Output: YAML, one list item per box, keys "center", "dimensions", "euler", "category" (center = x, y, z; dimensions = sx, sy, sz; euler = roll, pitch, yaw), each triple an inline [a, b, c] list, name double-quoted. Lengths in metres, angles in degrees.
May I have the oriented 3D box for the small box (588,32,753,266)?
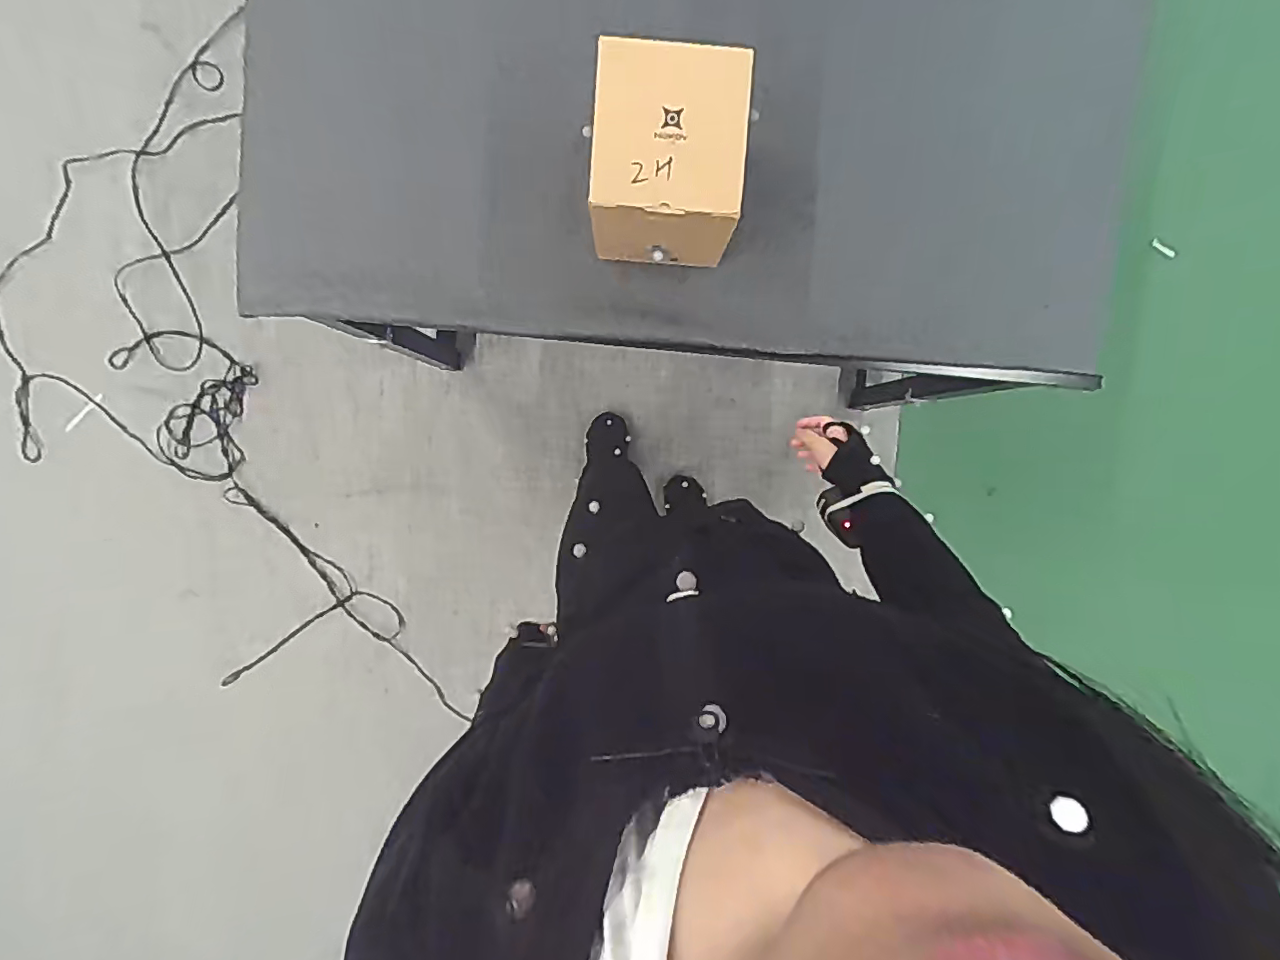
- center: [0.030, -0.378, 0.648]
  dimensions: [0.168, 0.176, 0.179]
  euler: [4, 93, -1]
  category: "small box"
